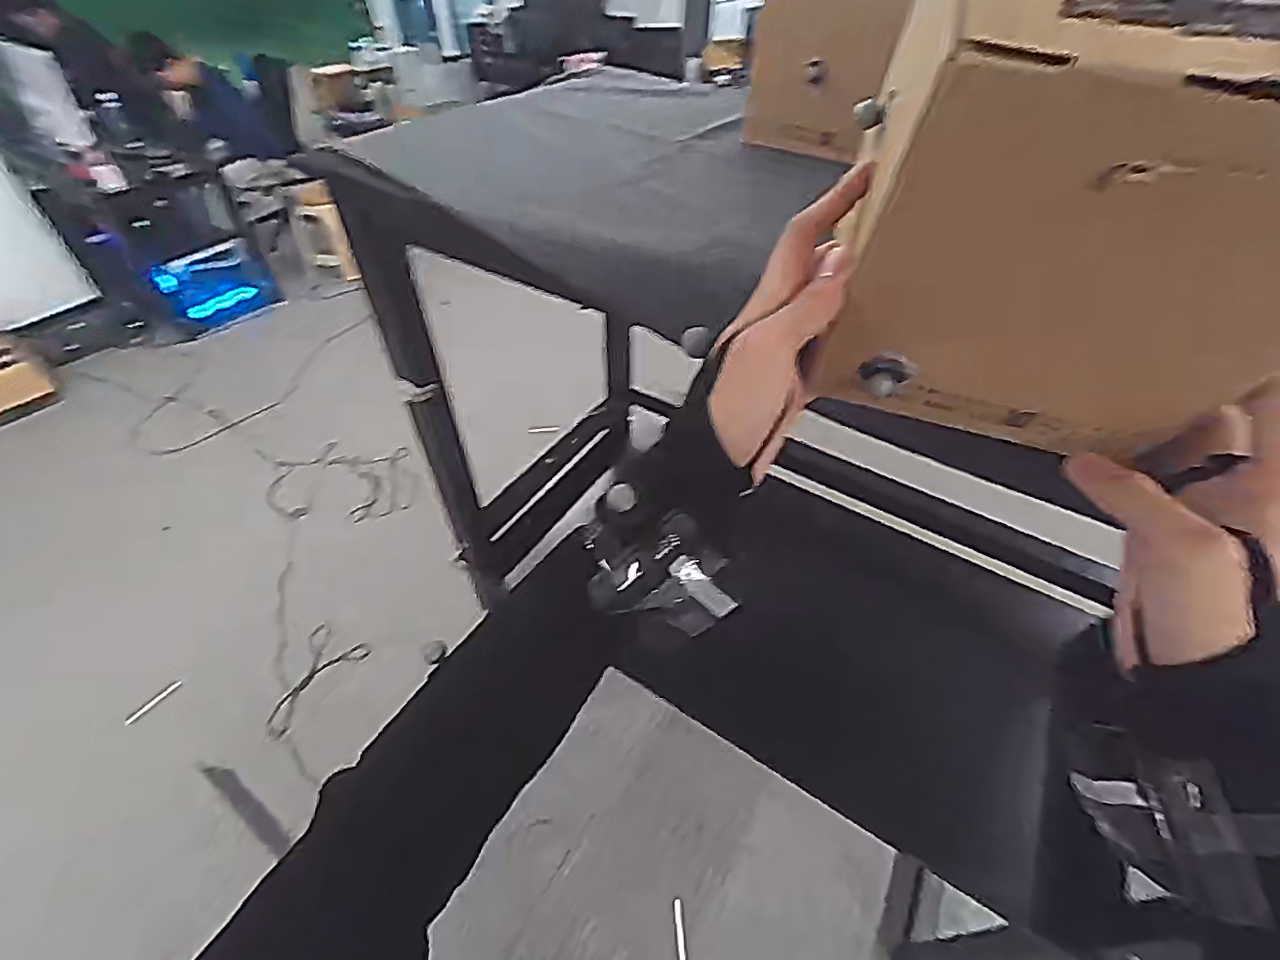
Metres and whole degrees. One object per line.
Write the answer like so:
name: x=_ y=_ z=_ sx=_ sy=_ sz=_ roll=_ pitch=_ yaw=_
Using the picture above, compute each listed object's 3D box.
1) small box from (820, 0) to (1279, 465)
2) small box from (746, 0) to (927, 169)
small box: x=0.195 y=-0.131 z=0.250 sx=0.168 sy=0.176 sz=0.179 roll=16 pitch=64 yaw=8
small box: x=0.234 y=-0.481 z=0.623 sx=0.168 sy=0.176 sz=0.179 roll=25 pitch=51 yaw=20
